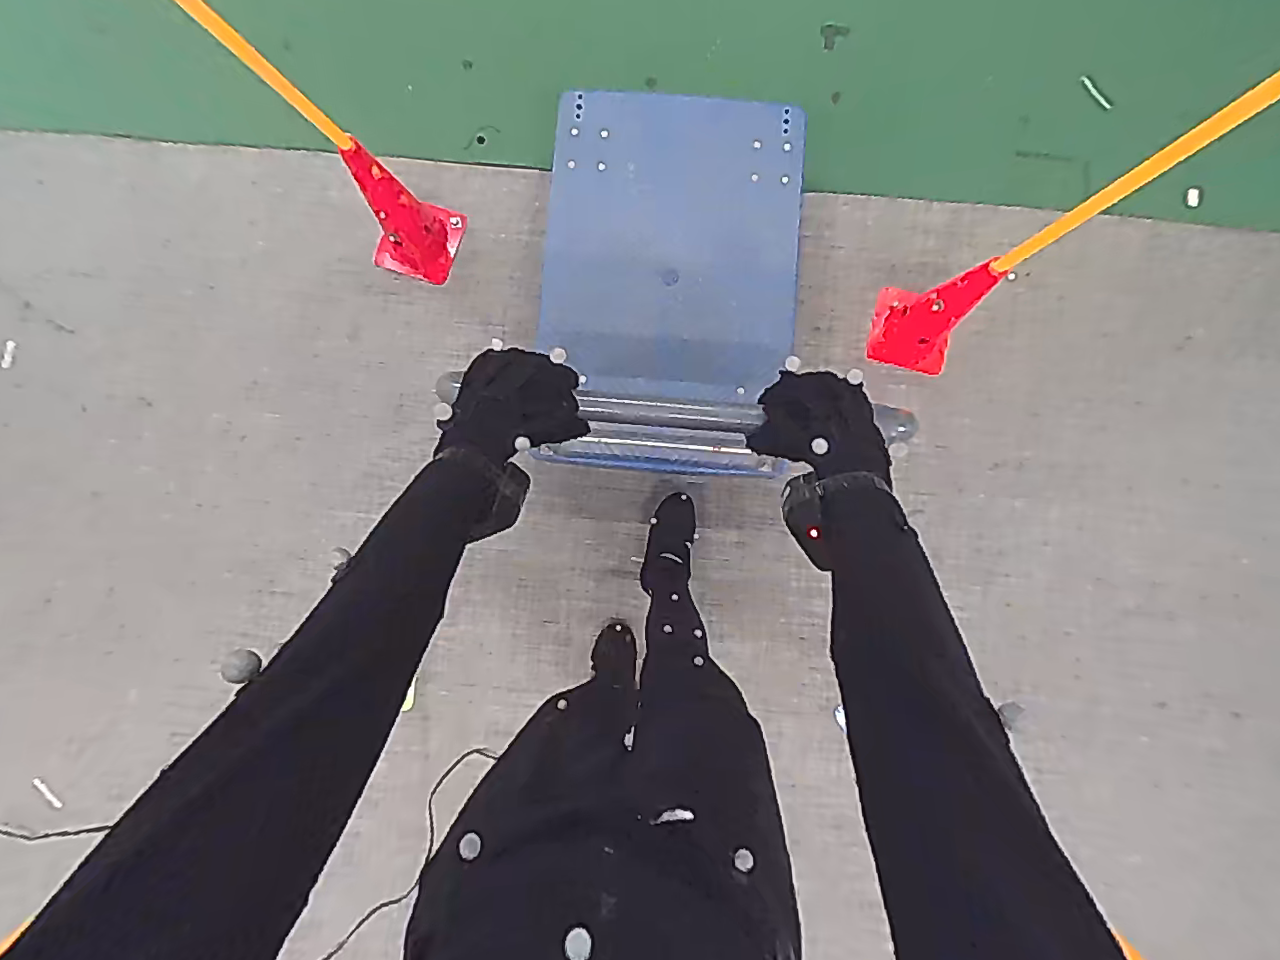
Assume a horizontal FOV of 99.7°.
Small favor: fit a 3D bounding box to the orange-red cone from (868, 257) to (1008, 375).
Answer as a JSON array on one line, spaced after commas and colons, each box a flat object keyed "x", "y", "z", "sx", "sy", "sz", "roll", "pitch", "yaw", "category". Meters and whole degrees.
[{"x": 0.697, "y": -0.395, "z": 1.217, "sx": 0.198, "sy": 0.360, "sz": 0.199, "roll": 16, "pitch": 86, "yaw": 2, "category": "orange-red cone"}]
